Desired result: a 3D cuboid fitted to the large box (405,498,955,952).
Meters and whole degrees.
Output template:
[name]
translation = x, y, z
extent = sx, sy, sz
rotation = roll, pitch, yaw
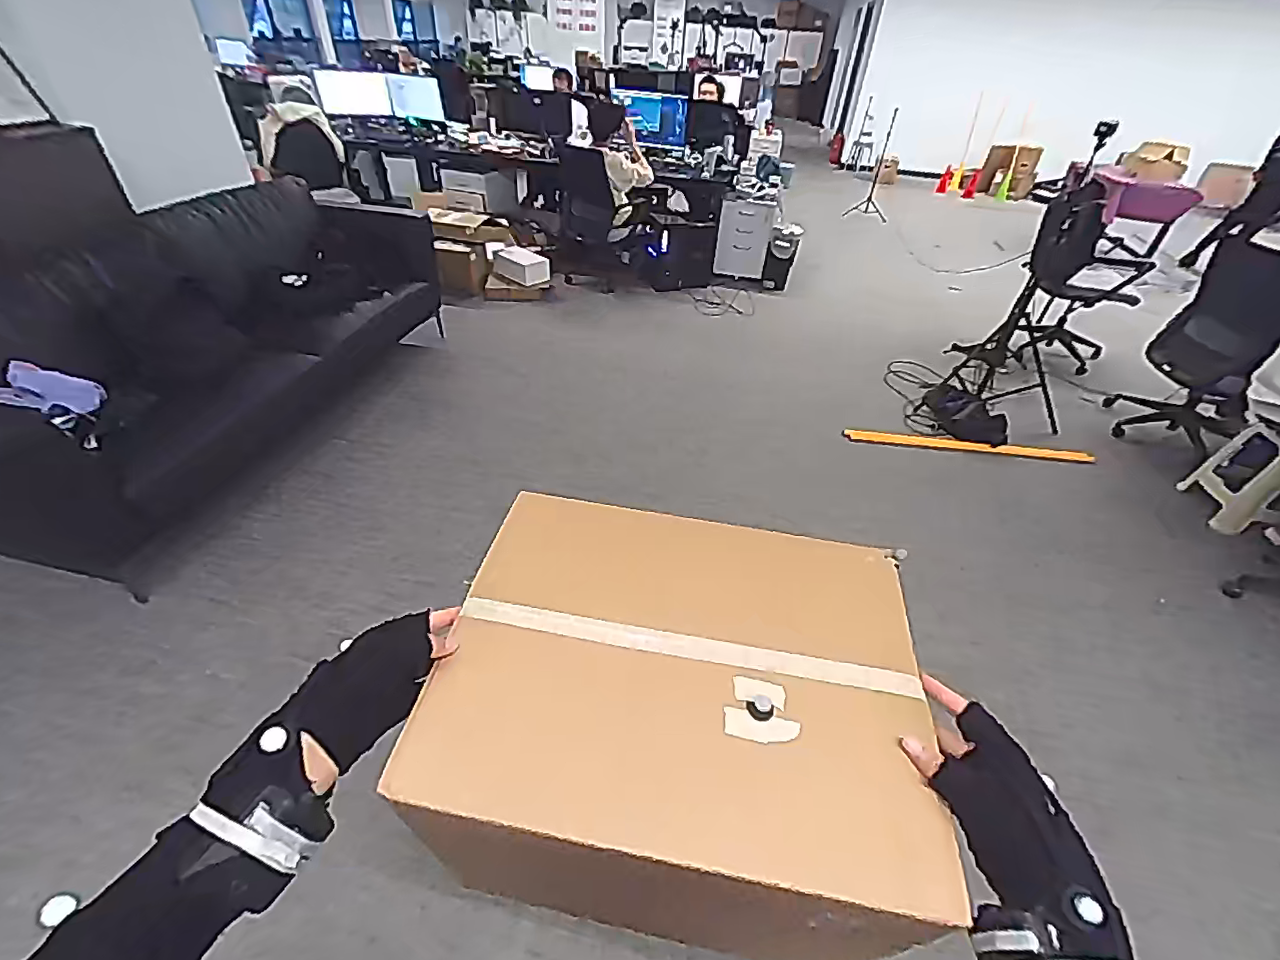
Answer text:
[large box]
translation = 0.036, 0.256, 0.588
extent = 0.408, 0.320, 0.320
rotation = 9, 44, 6
